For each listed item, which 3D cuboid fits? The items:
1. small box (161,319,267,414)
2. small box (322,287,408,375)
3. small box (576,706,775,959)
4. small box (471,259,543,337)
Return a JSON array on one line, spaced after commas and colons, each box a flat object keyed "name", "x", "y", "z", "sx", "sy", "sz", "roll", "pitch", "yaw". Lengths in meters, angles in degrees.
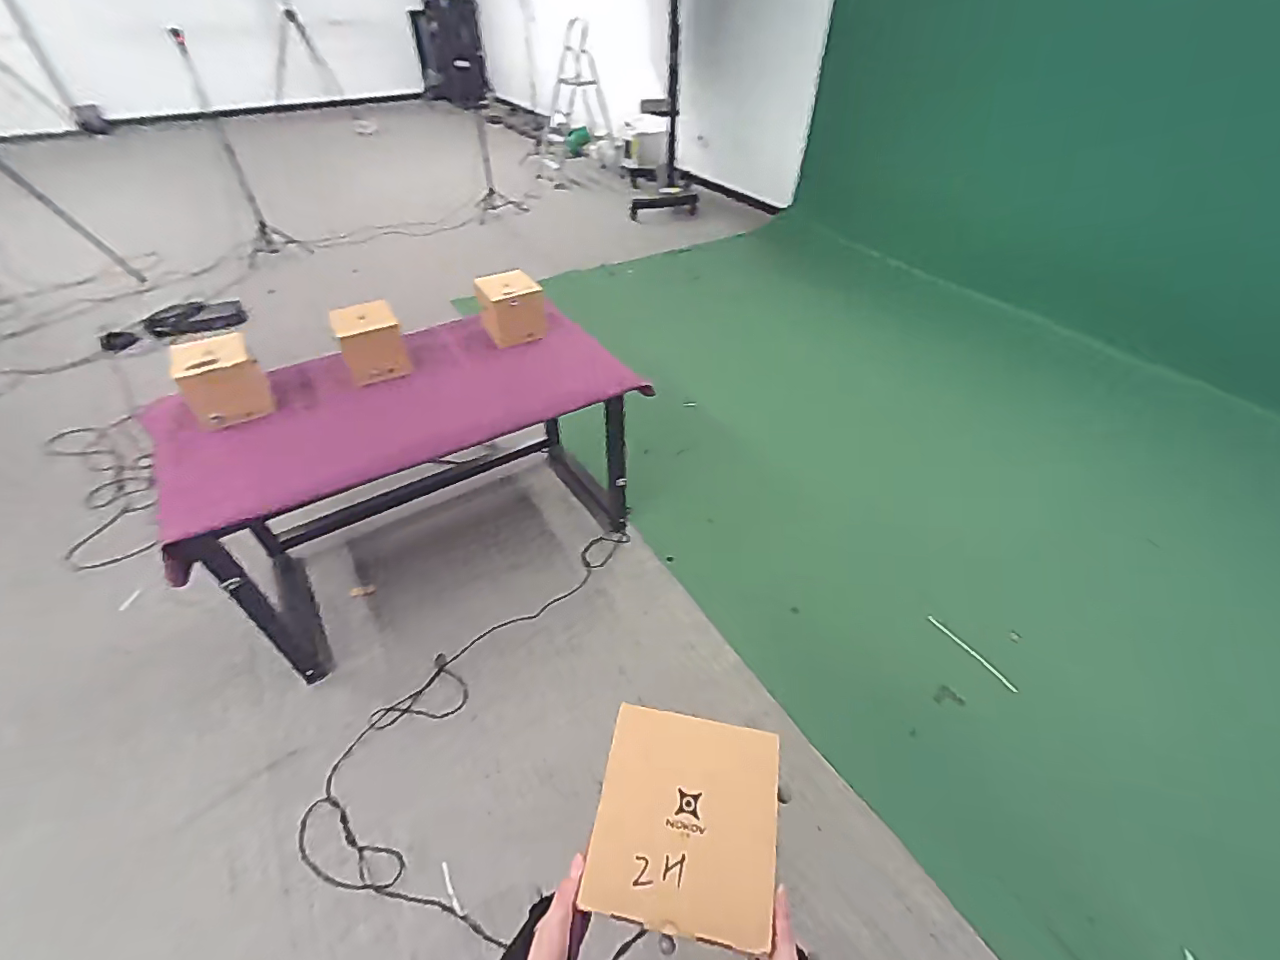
[{"name": "small box", "x": -1.111, "y": -0.292, "z": 1.417, "sx": 0.168, "sy": 0.176, "sz": 0.179, "roll": -22, "pitch": 51, "yaw": -23}, {"name": "small box", "x": -0.800, "y": -0.433, "z": 1.576, "sx": 0.168, "sy": 0.176, "sz": 0.179, "roll": -22, "pitch": 51, "yaw": -21}, {"name": "small box", "x": 0.041, "y": 0.363, "z": 0.564, "sx": 0.168, "sy": 0.176, "sz": 0.179, "roll": 8, "pitch": 52, "yaw": 8}, {"name": "small box", "x": -0.425, "y": -0.586, "z": 1.741, "sx": 0.168, "sy": 0.176, "sz": 0.179, "roll": -23, "pitch": 51, "yaw": -22}]
